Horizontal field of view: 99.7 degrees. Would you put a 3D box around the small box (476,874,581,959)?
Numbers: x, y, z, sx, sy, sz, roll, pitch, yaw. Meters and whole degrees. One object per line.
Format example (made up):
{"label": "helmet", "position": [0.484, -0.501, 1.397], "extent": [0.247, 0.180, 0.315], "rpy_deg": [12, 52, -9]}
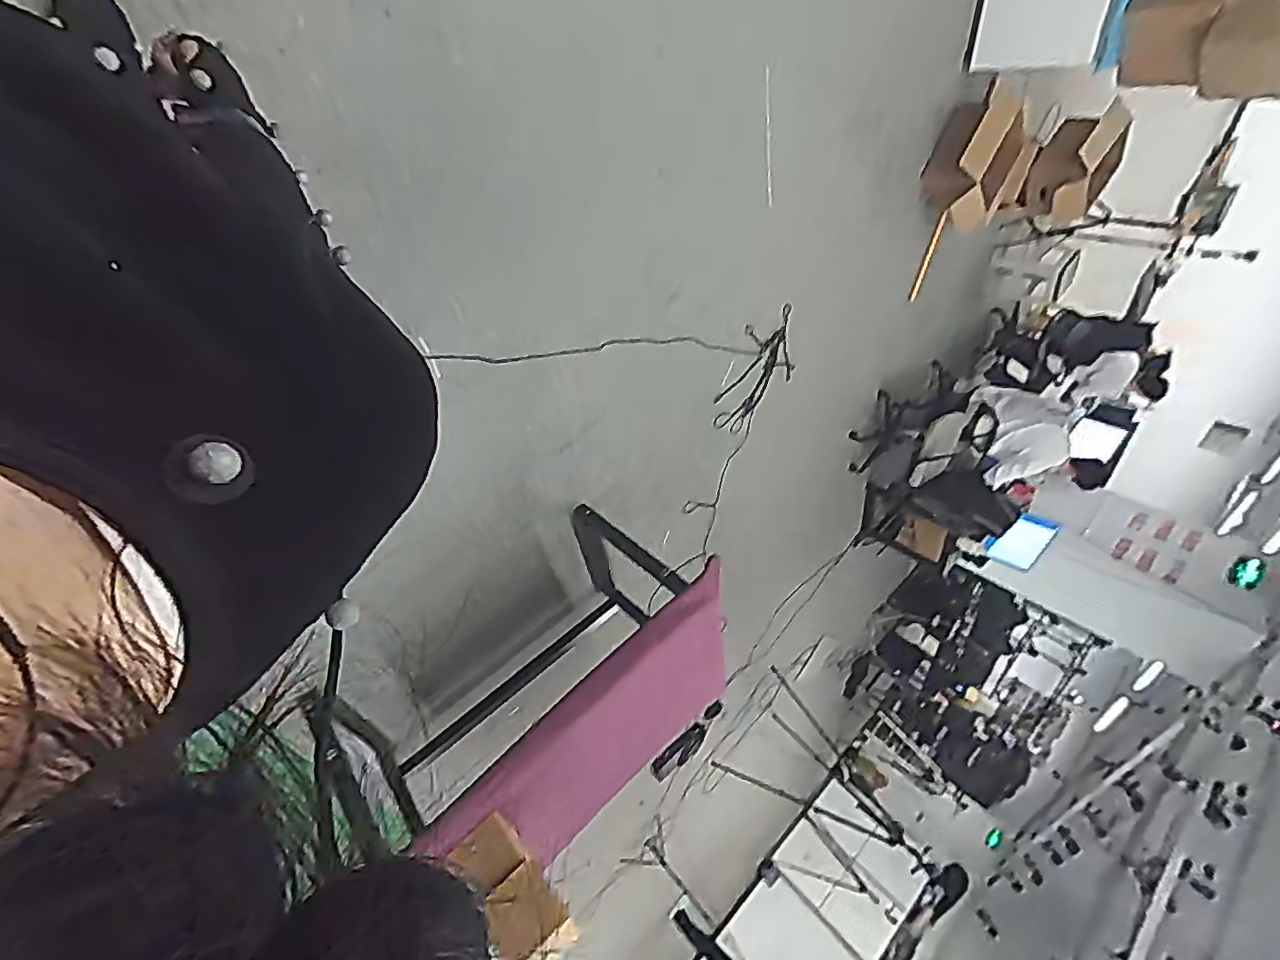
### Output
{"label": "small box", "position": [-0.261, 1.085, 1.275], "extent": [0.168, 0.176, 0.179], "rpy_deg": [-31, 133, -31]}

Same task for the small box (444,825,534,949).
{"label": "small box", "position": [-0.376, 1.039, 1.384], "extent": [0.179, 0.176, 0.168], "rpy_deg": [-36, 138, -25]}
